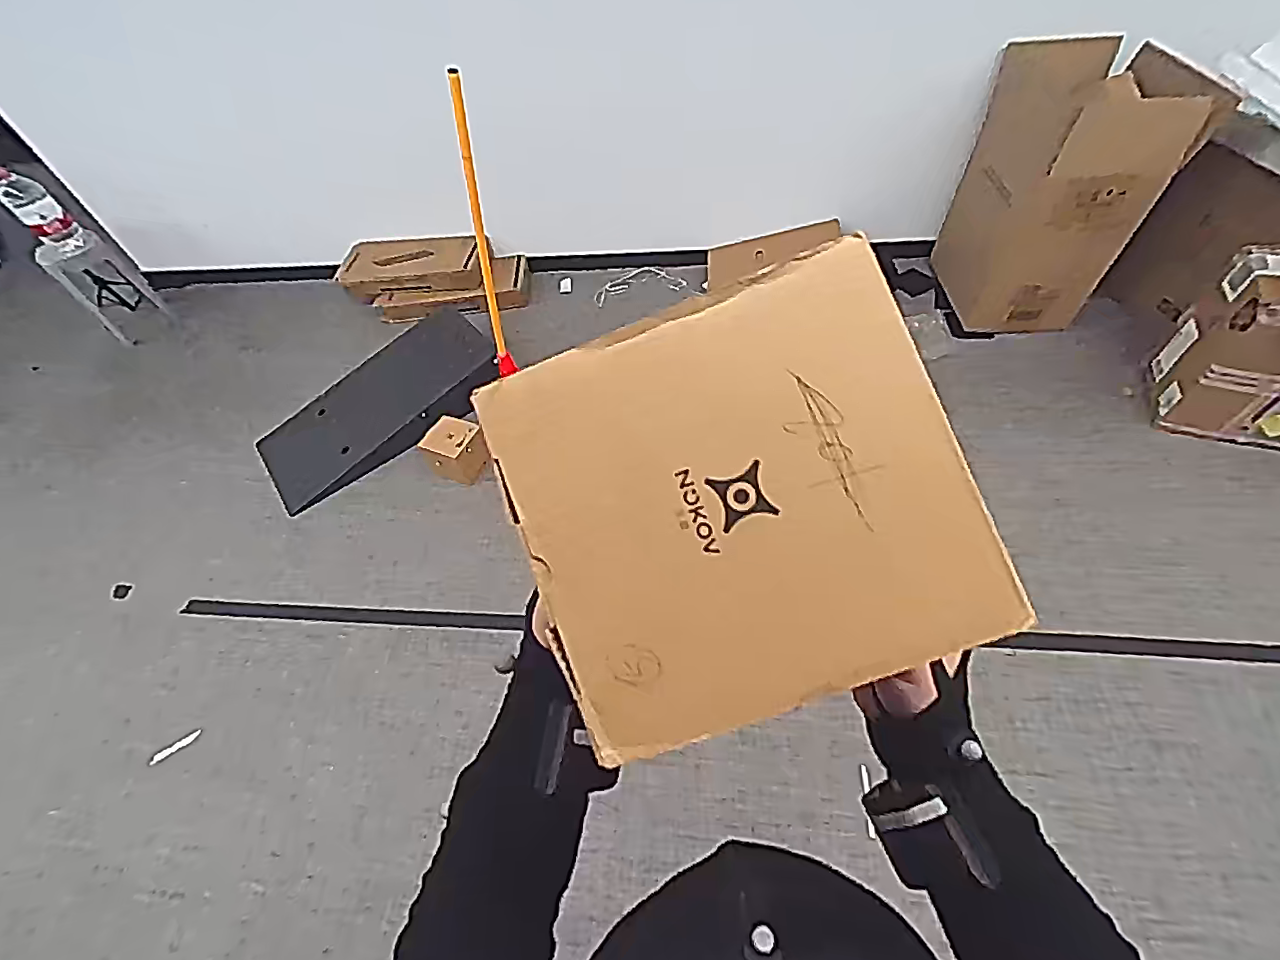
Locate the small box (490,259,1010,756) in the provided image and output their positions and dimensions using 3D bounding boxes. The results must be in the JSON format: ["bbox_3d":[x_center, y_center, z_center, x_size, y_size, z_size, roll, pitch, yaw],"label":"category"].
[{"bbox_3d":[0.048,0.017,0.306,0.179,0.176,0.168,-21,84,4],"label":"small box"}]
